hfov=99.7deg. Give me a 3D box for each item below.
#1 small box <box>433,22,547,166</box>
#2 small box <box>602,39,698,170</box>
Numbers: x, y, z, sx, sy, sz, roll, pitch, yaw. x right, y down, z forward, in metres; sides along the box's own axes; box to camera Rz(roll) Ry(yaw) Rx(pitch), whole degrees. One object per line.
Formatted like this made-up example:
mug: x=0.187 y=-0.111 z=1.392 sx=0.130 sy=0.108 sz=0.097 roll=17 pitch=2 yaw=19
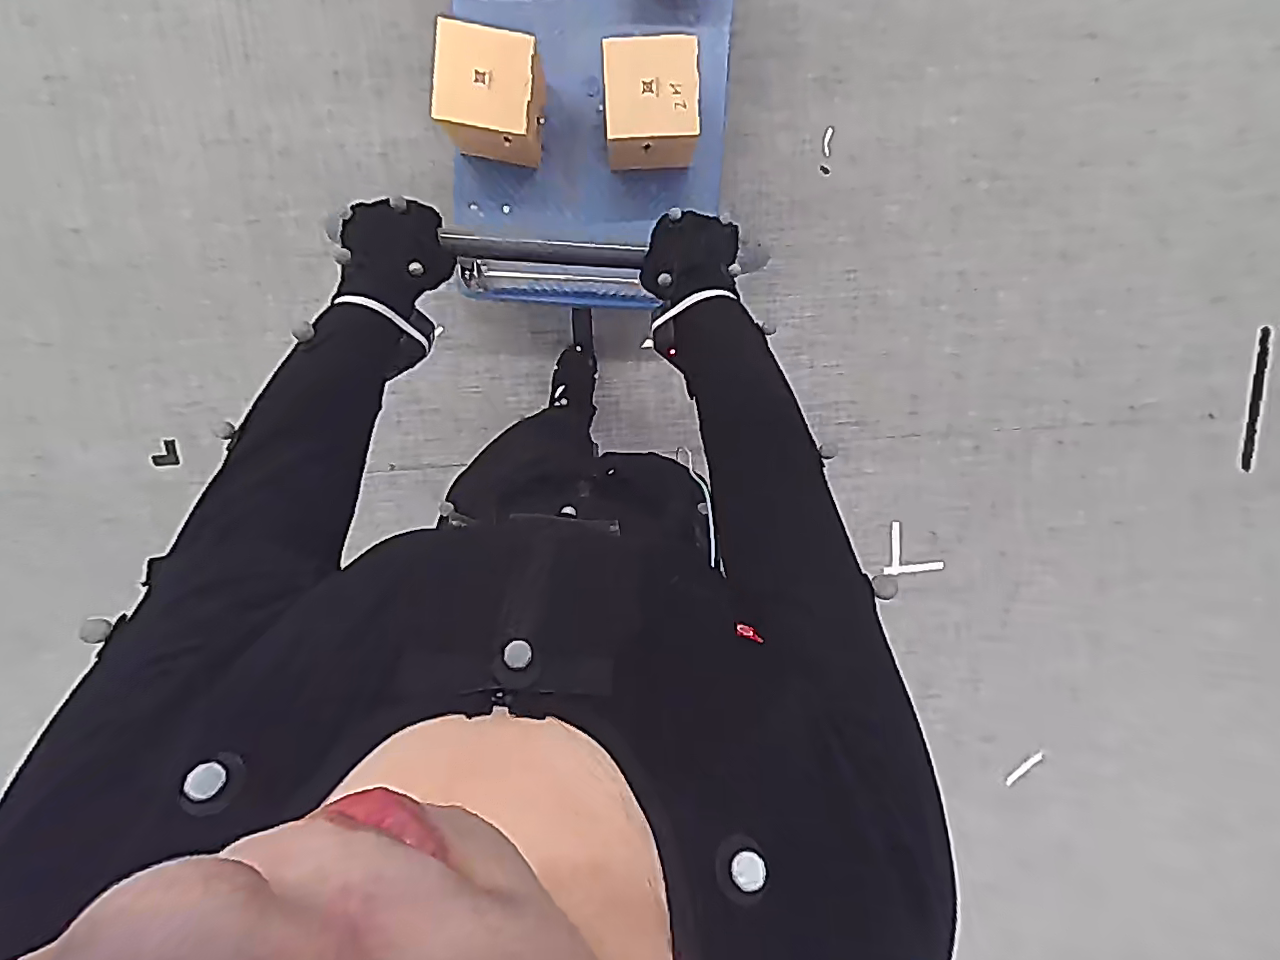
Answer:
small box: x=-0.287 y=-0.744 z=1.063 sx=0.179 sy=0.176 sz=0.168 roll=8 pitch=102 yaw=-5
small box: x=0.019 y=-0.733 z=1.073 sx=0.179 sy=0.176 sz=0.168 roll=-3 pitch=103 yaw=-1
